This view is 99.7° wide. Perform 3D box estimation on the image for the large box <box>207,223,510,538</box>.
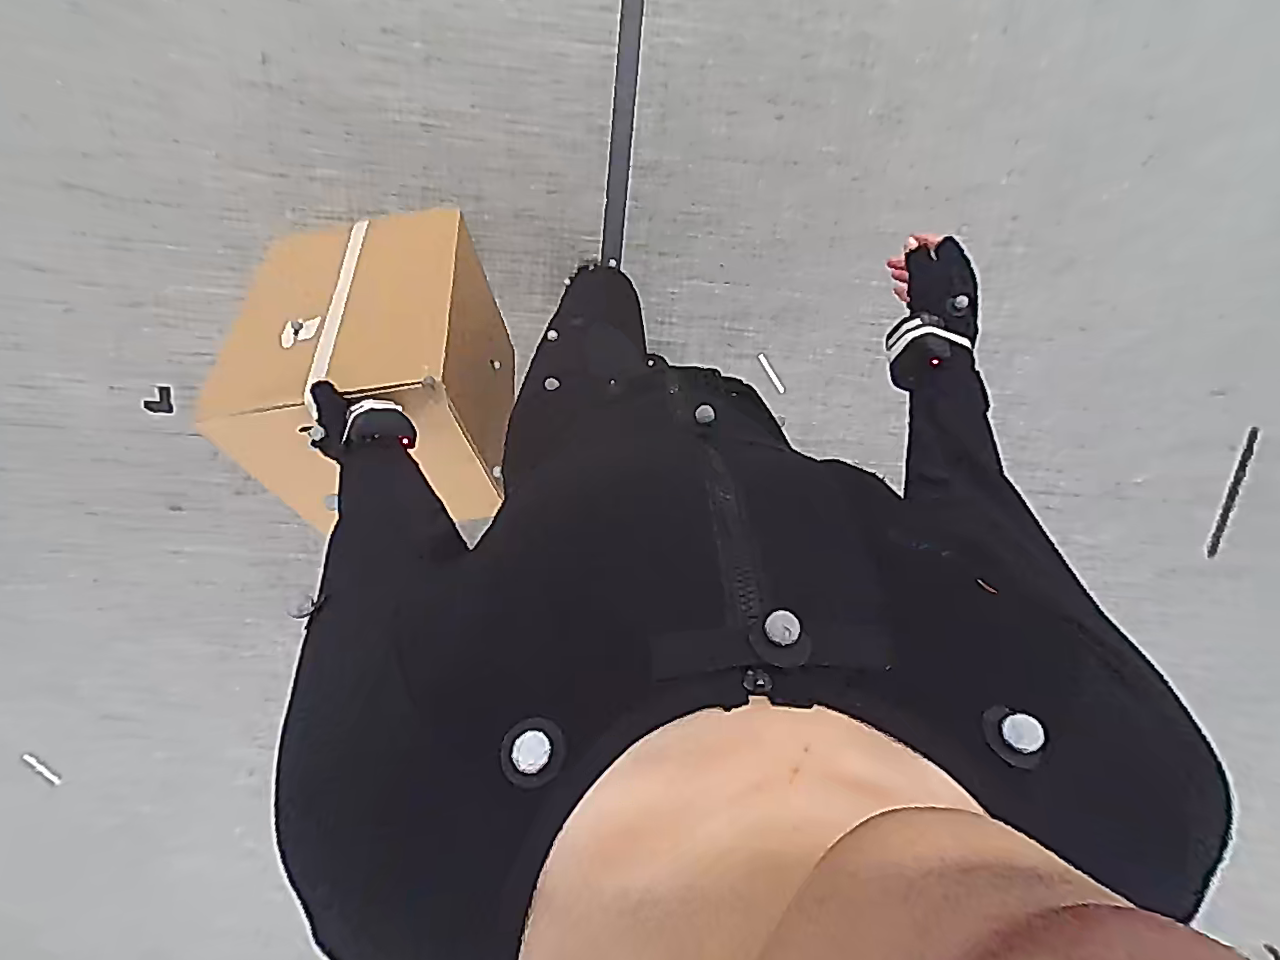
[{"bbox_3d":[-0.412,-0.166,0.914,0.320,0.408,0.320,-10,144,1],"label":"large box"}]
